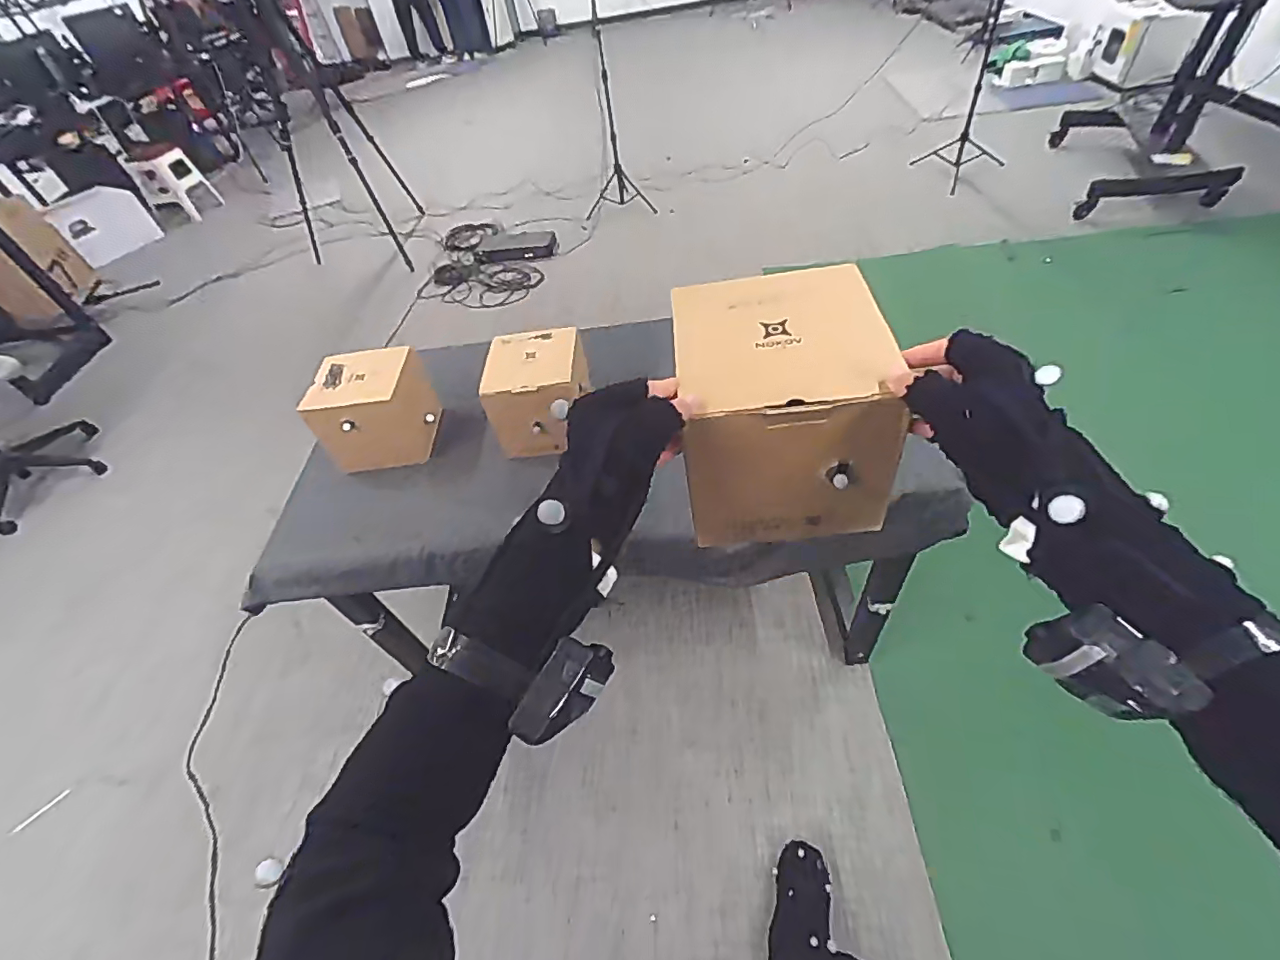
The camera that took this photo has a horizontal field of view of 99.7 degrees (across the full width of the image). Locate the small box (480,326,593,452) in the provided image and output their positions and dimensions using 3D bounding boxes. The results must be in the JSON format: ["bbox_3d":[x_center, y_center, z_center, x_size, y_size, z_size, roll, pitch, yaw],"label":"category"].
[{"bbox_3d":[-0.187,-0.167,1.038,0.168,0.176,0.179,-5,49,5],"label":"small box"}]

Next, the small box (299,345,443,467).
[{"bbox_3d":[-0.516,-0.142,1.067,0.179,0.176,0.168,-6,49,2],"label":"small box"}]

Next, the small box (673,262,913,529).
[{"bbox_3d":[0.122,-0.068,0.493,0.168,0.176,0.179,-6,48,6],"label":"small box"}]
